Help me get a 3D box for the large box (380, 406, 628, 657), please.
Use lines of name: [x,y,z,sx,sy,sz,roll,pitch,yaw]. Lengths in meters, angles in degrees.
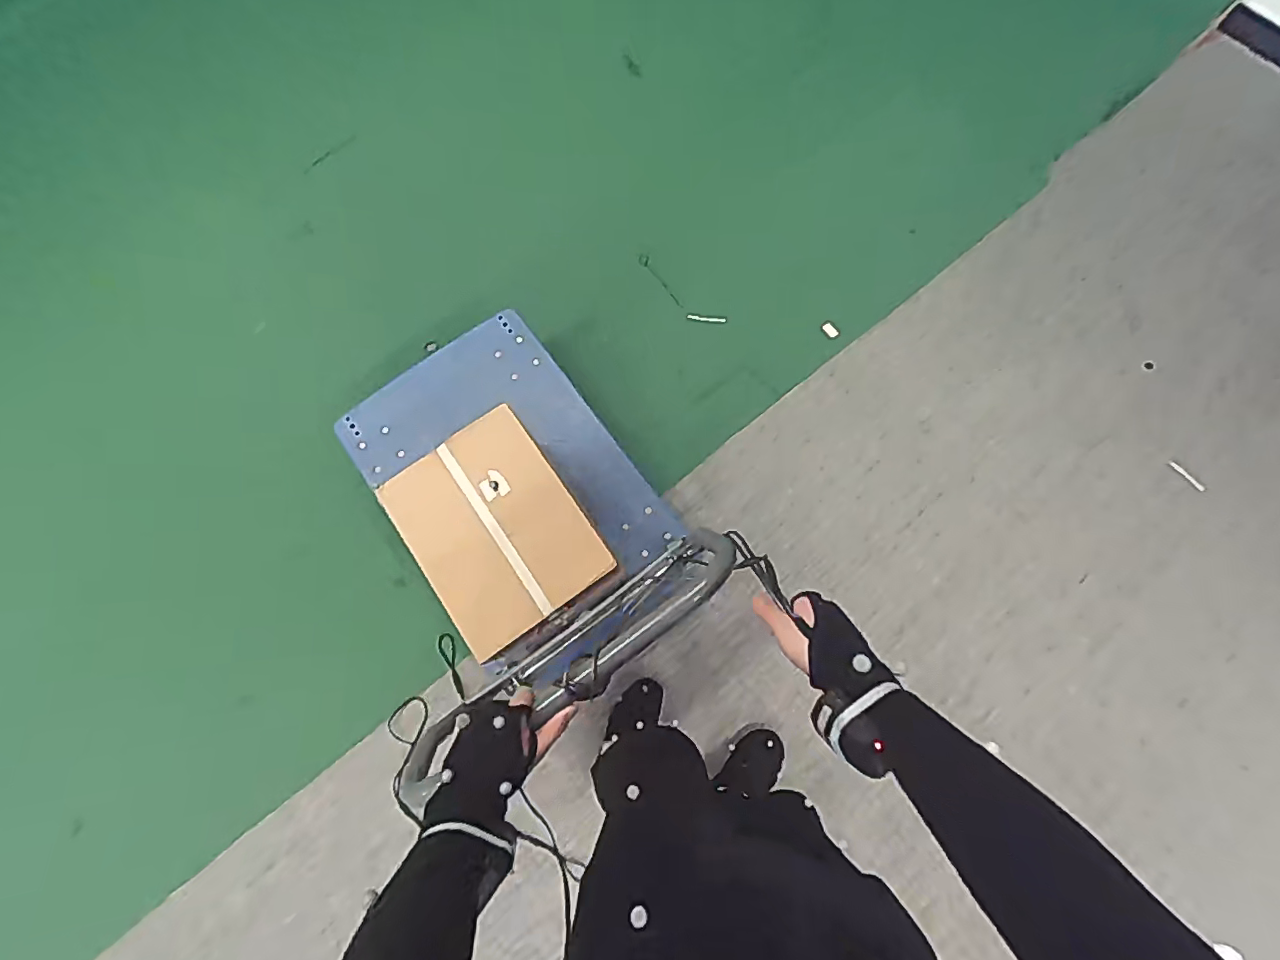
large box: [-0.270,0.121,1.189,0.320,0.320,0.408,-35,78,-6]
